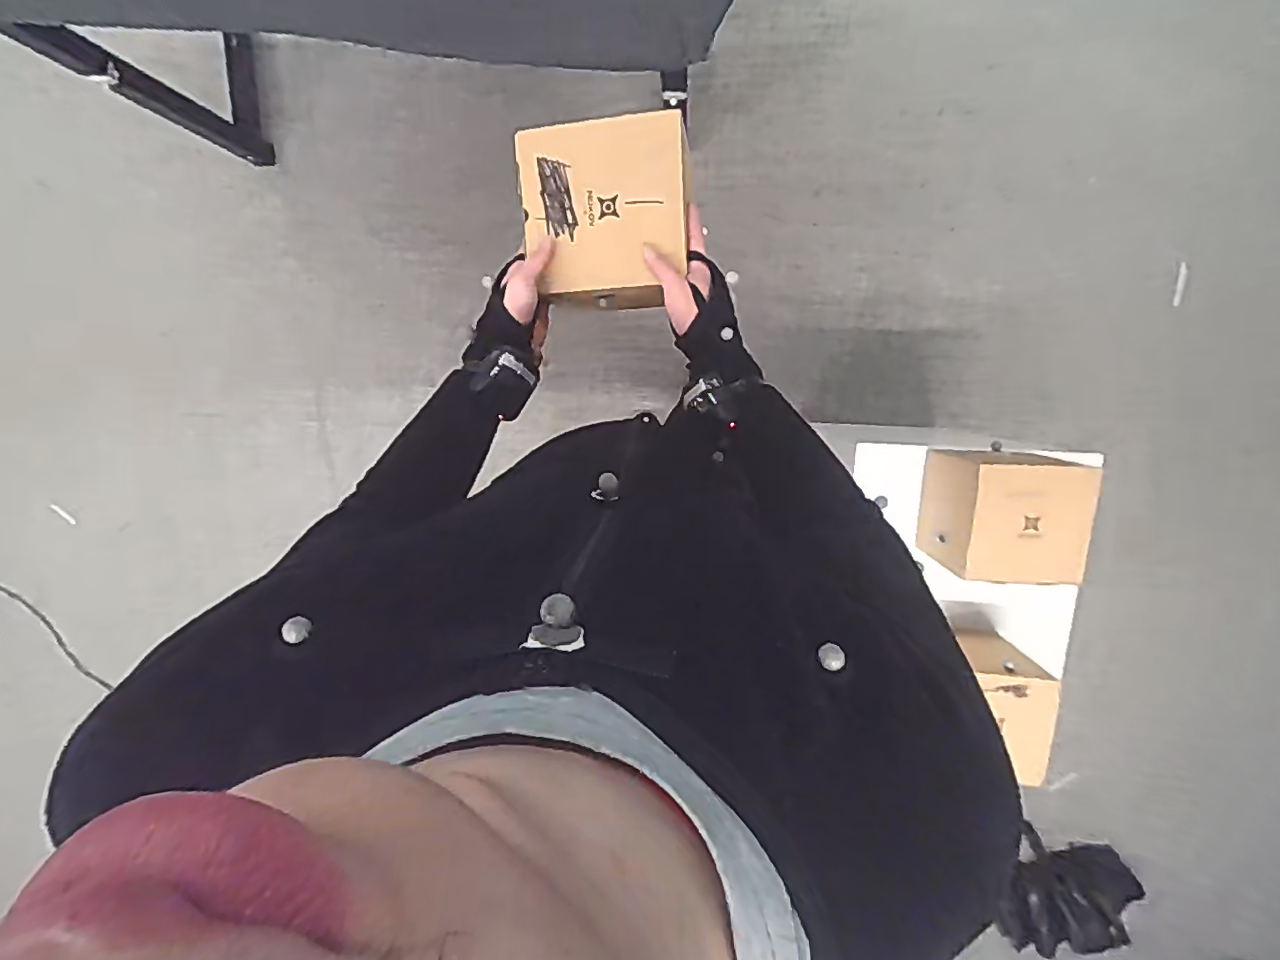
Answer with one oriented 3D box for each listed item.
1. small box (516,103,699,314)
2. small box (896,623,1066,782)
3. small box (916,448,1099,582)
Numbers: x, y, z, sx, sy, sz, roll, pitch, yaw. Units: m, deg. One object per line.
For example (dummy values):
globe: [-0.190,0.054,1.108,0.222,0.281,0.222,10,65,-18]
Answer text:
small box: [-0.024,-0.290,0.617,0.179,0.176,0.168,-3,100,7]
small box: [0.542,0.356,0.888,0.168,0.176,0.179,3,99,1]
small box: [0.552,0.047,0.840,0.168,0.176,0.179,0,99,0]
